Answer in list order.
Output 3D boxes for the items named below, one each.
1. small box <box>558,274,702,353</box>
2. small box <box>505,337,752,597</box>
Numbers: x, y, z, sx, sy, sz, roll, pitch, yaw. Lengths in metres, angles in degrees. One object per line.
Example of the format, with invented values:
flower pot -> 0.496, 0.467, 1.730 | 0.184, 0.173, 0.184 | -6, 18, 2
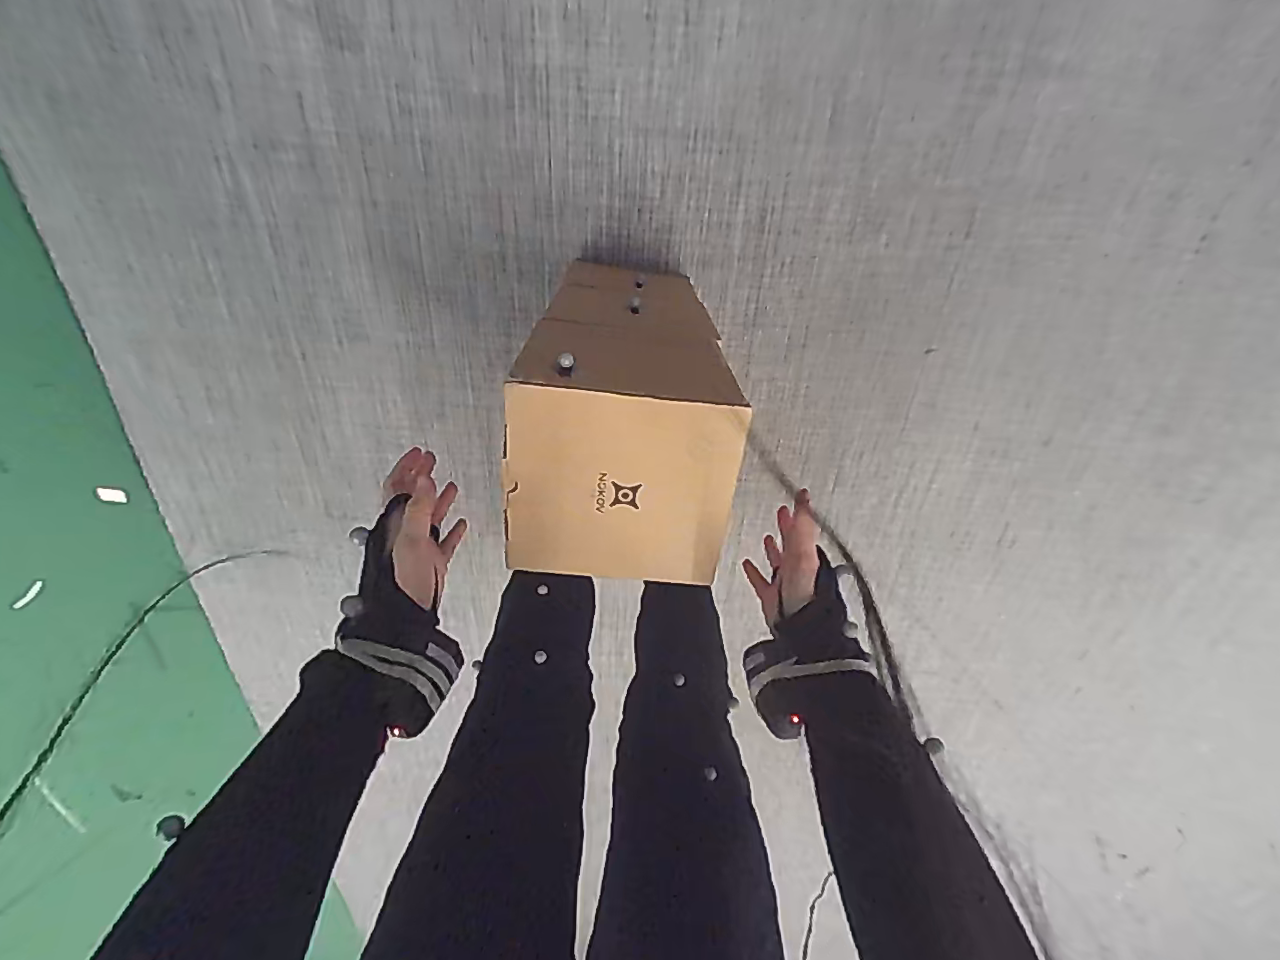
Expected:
small box -> -0.022, -0.184, 0.764 | 0.179, 0.176, 0.168 | 8, 119, -4
small box -> -0.016, -0.019, 0.482 | 0.179, 0.176, 0.168 | 6, 120, -3
